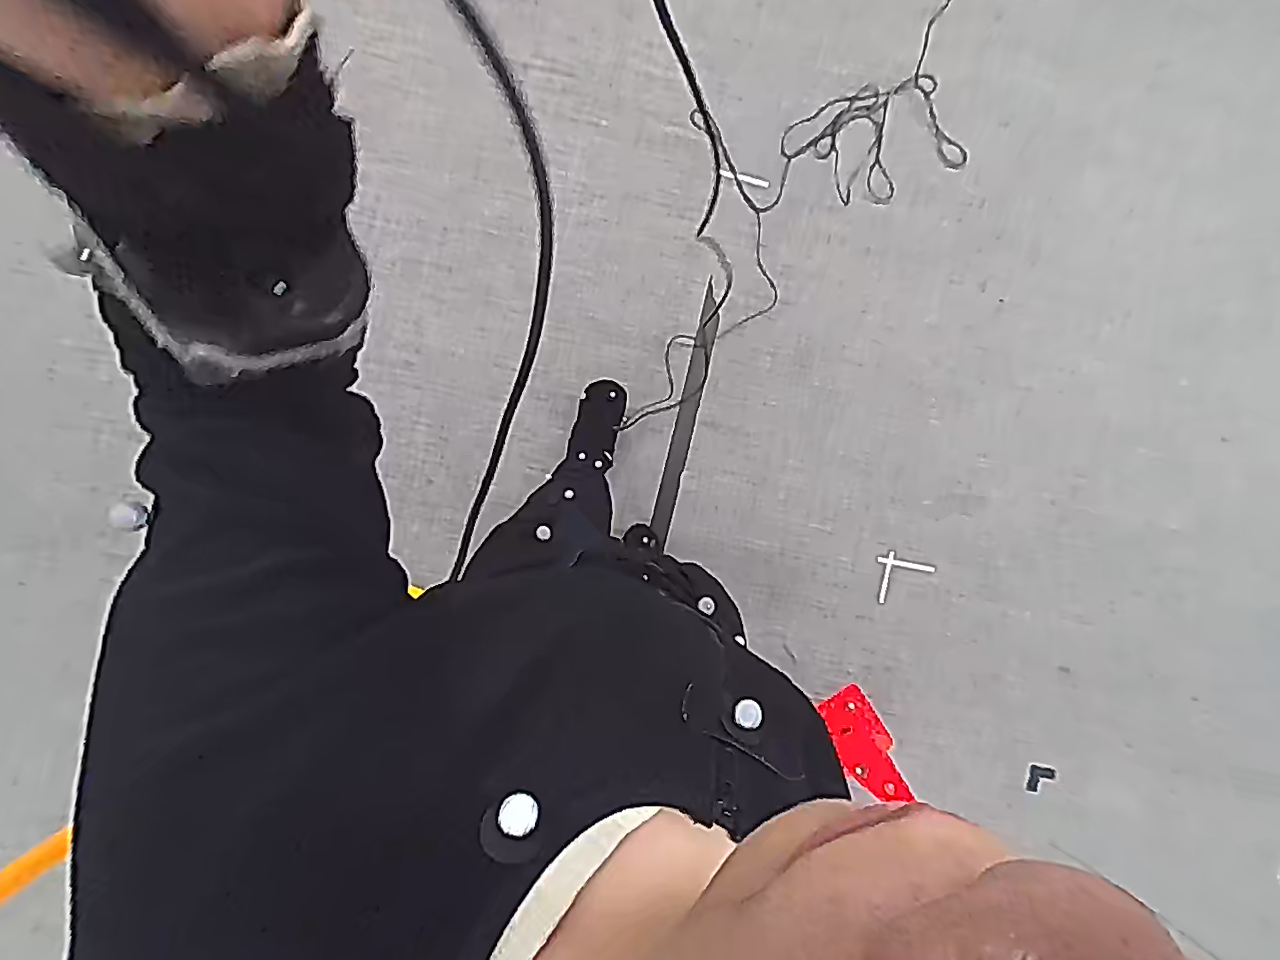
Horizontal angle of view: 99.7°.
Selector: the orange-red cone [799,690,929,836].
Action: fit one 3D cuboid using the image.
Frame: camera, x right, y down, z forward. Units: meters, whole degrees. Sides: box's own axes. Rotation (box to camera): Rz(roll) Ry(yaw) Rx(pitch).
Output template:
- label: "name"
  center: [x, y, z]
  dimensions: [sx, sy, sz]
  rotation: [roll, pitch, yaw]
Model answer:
- label: "orange-red cone"
  center: [0.525, 0.655, 1.194]
  dimensions: [0.199, 0.360, 0.198]
  rotation: [-32, 90, 0]
